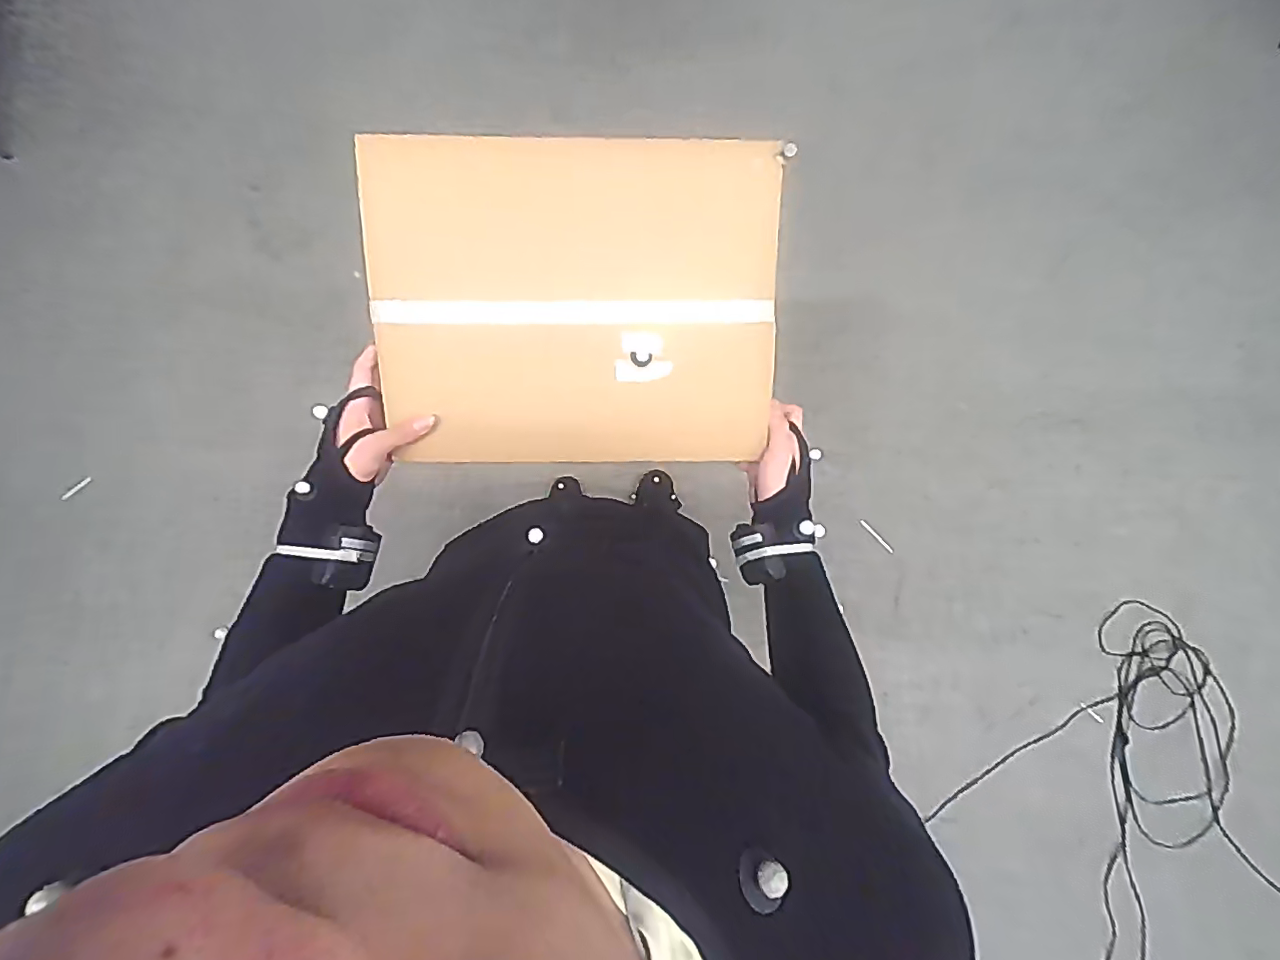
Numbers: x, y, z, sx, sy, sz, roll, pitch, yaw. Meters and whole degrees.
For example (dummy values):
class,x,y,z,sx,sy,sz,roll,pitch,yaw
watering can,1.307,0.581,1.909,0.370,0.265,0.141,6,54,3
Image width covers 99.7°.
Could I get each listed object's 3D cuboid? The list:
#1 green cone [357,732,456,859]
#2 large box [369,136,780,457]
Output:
class,x,y,z,sx,sy,sz,roll,pitch,yaw
green cone,-0.657,0.865,1.453,0.200,0.368,0.202,7,91,-2
large box,-0.067,-0.213,0.698,0.408,0.320,0.320,-1,104,-2
